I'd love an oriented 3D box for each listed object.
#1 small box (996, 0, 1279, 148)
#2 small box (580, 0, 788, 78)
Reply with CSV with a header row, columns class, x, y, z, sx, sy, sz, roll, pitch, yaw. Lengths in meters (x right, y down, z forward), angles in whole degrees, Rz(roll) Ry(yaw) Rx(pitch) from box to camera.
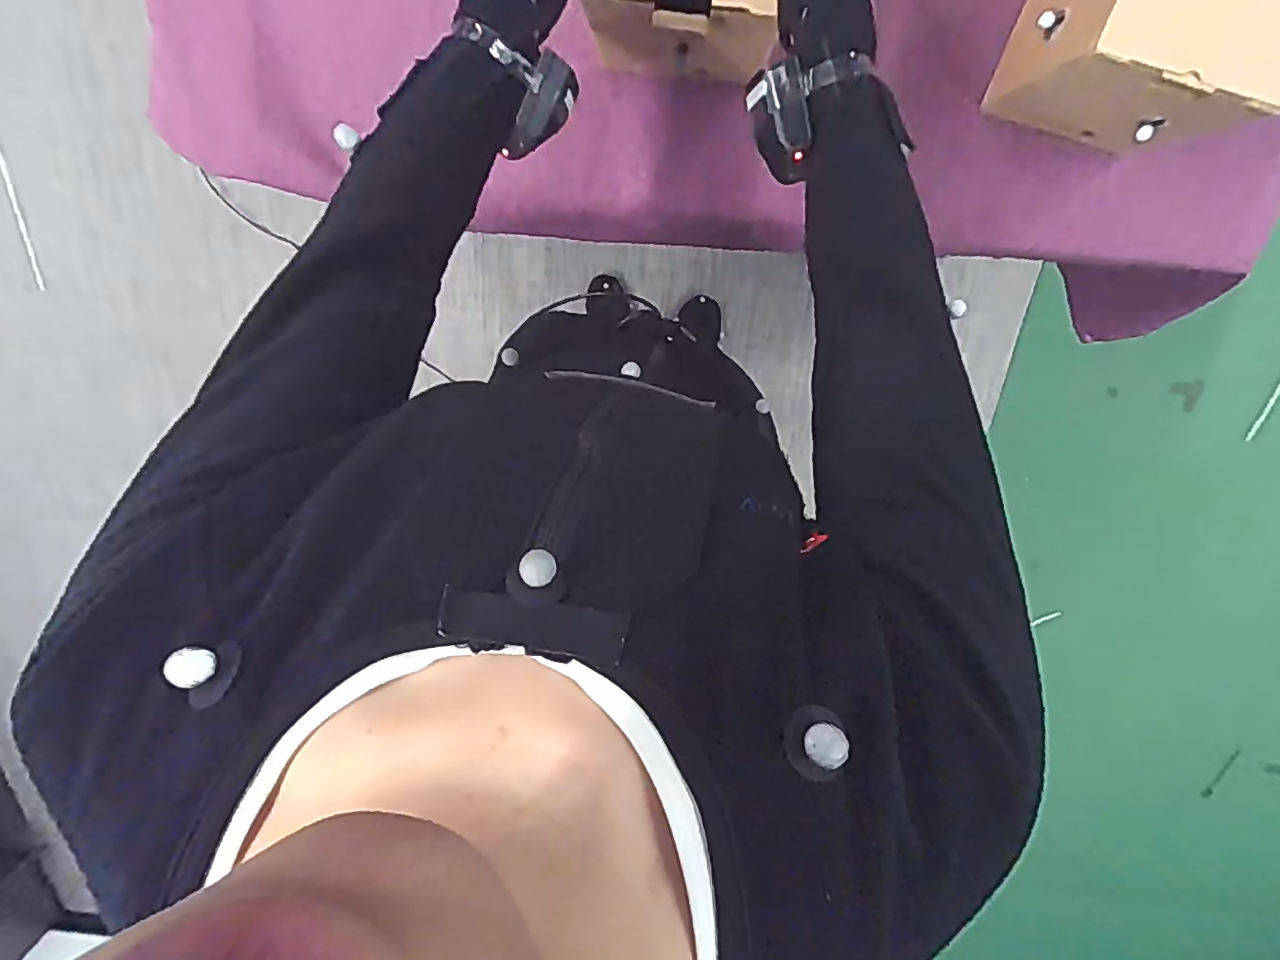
class,x,y,z,sx,sy,sz,roll,pitch,yaw
small box,0.449,-0.410,0.460,0.168,0.176,0.179,16,112,-2
small box,0.047,-0.474,0.461,0.168,0.176,0.179,7,112,1
